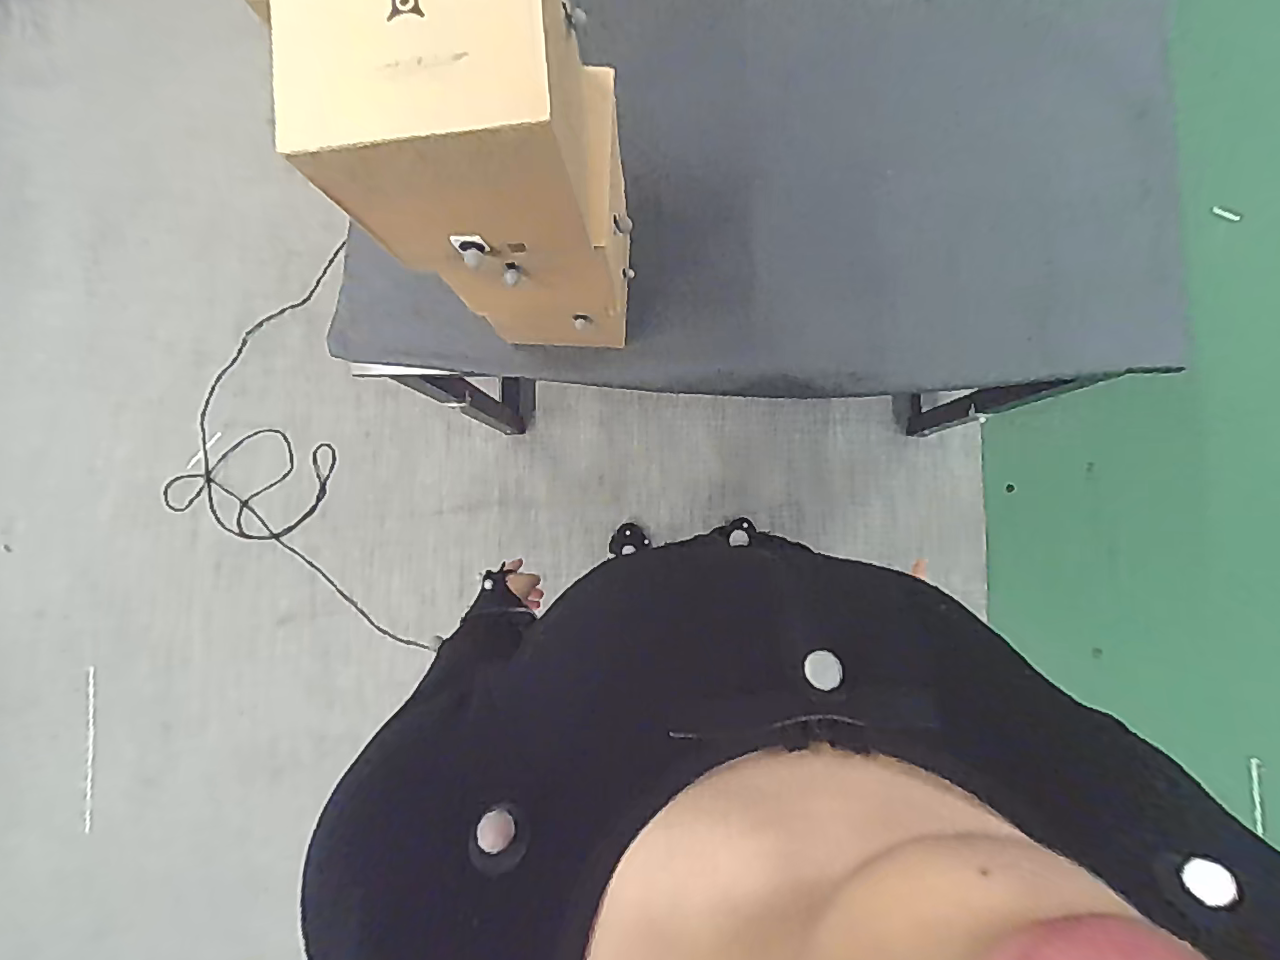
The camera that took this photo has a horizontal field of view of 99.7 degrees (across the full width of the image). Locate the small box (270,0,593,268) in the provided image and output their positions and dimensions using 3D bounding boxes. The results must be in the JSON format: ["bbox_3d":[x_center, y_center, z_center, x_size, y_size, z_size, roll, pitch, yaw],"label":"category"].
[{"bbox_3d":[-0.132,-0.281,0.396,0.168,0.176,0.179,-5,88,4],"label":"small box"}]

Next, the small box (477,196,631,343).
[{"bbox_3d":[-0.106,-0.288,0.720,0.179,0.176,0.168,3,87,4],"label":"small box"}]

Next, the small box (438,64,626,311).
[{"bbox_3d":[-0.108,-0.284,0.557,0.179,0.176,0.168,2,87,3],"label":"small box"}]
